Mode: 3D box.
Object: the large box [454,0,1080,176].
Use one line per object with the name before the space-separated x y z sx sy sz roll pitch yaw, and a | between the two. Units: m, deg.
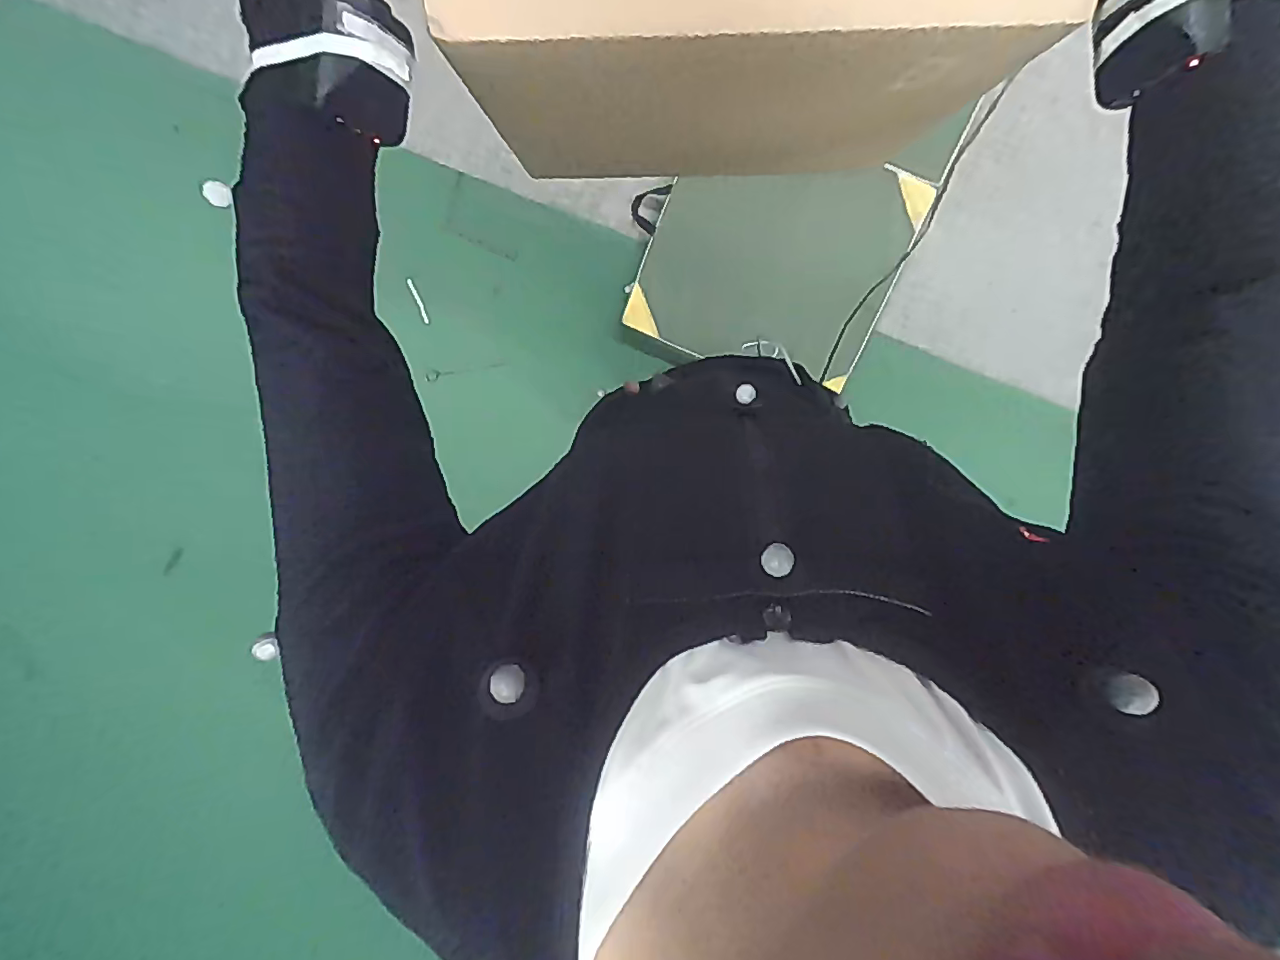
large box | 0.072 -0.469 0.447 0.408 0.320 0.320 -1 106 -1
